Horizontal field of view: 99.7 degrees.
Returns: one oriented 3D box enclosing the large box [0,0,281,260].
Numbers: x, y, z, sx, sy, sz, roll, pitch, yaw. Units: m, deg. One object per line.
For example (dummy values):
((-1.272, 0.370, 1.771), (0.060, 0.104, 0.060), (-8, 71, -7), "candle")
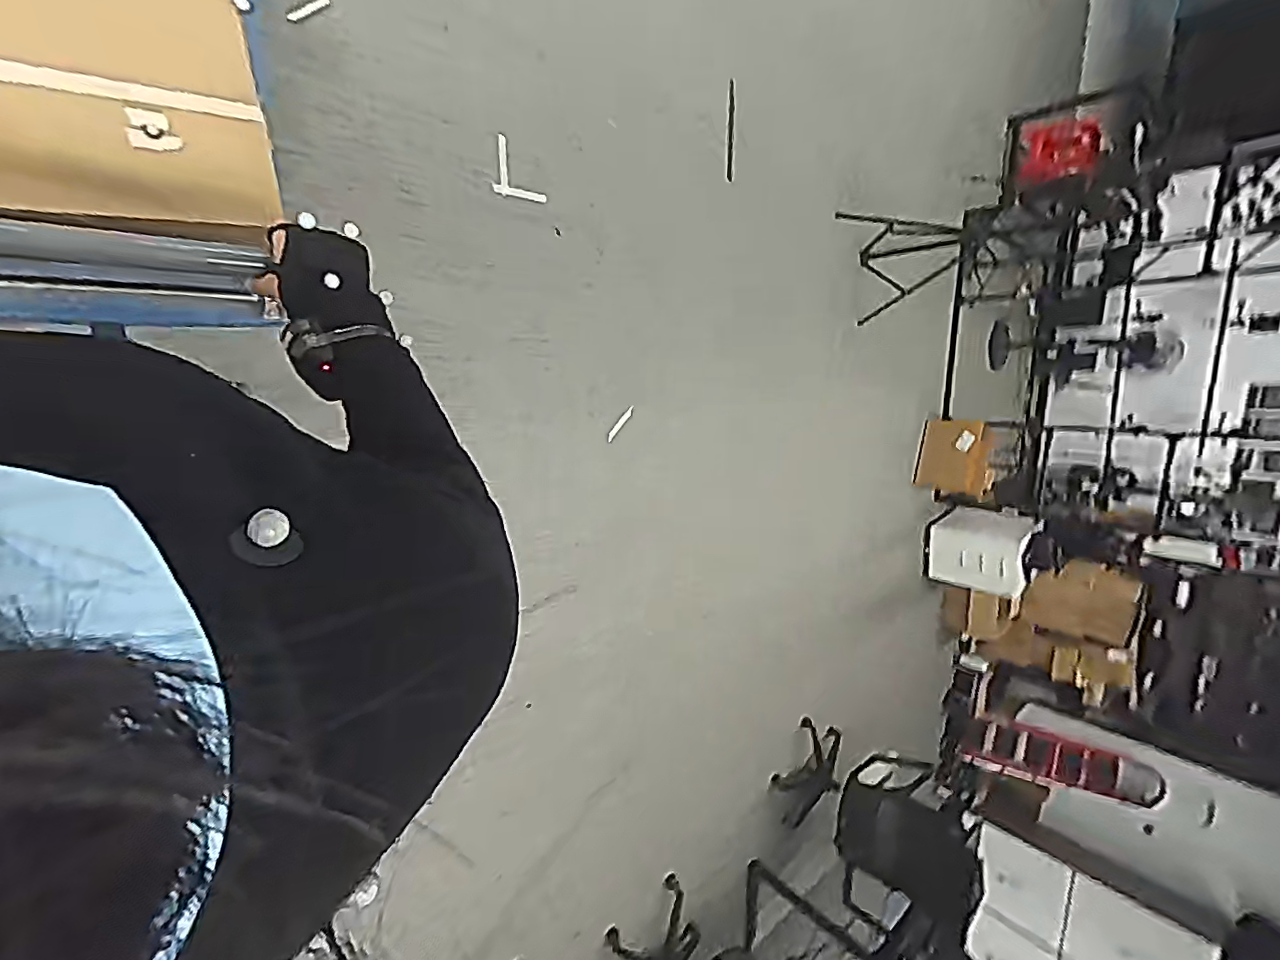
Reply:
((-0.826, -0.519, 0.800), (0.408, 0.320, 0.320), (-16, 109, -41), "large box")
